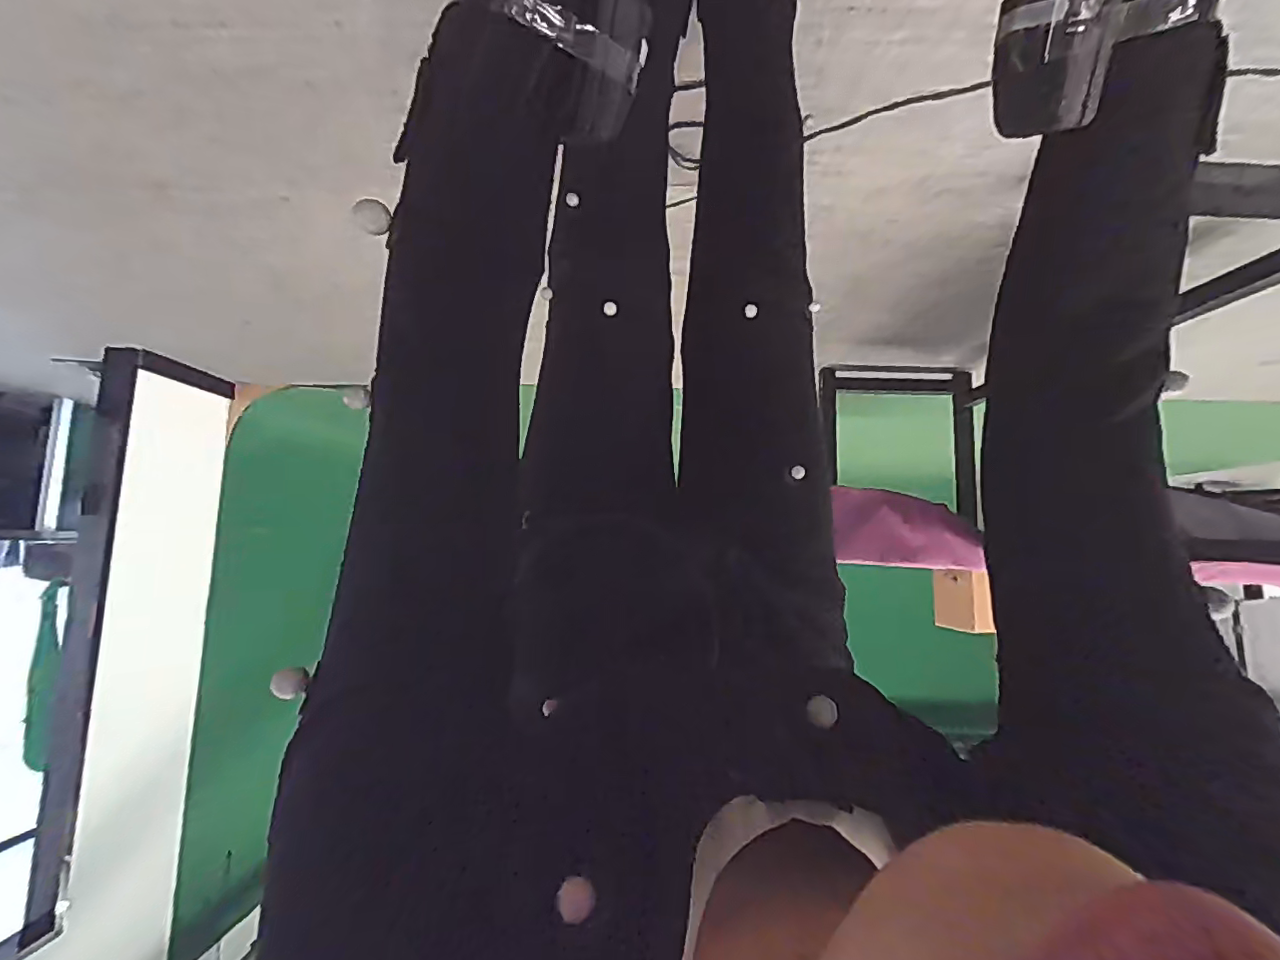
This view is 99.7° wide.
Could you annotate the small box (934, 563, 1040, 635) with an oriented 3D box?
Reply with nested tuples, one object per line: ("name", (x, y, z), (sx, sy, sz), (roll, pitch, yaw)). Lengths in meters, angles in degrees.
("small box", (0.906, 0.308, 1.424), (0.179, 0.176, 0.168), (3, 172, -4))
